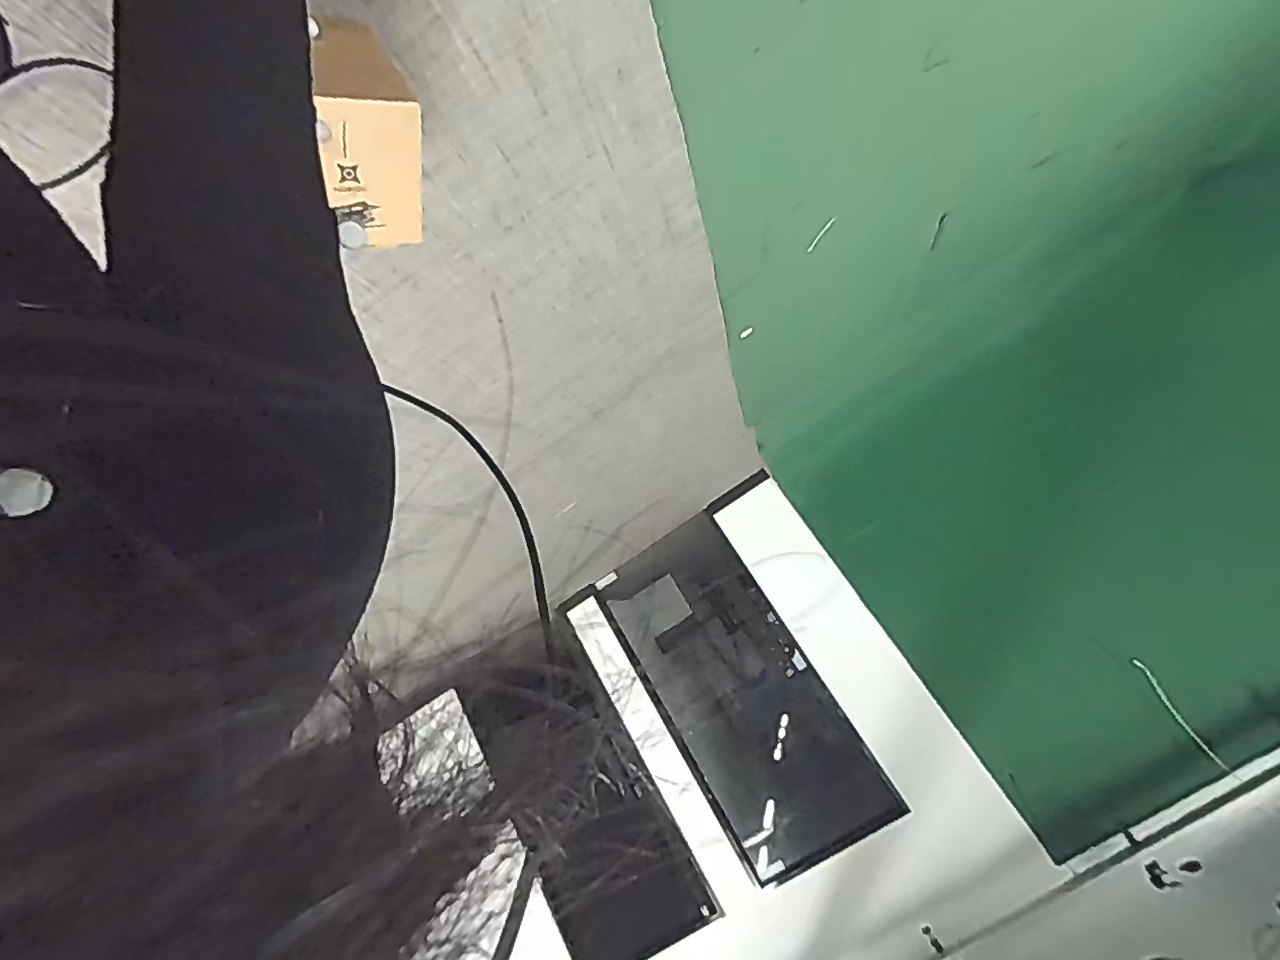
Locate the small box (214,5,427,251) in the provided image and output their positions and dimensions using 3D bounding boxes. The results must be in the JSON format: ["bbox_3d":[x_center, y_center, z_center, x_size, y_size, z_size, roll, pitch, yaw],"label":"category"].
[{"bbox_3d":[-0.365,-0.401,0.637,0.168,0.176,0.179,-20,157,-31],"label":"small box"}]
